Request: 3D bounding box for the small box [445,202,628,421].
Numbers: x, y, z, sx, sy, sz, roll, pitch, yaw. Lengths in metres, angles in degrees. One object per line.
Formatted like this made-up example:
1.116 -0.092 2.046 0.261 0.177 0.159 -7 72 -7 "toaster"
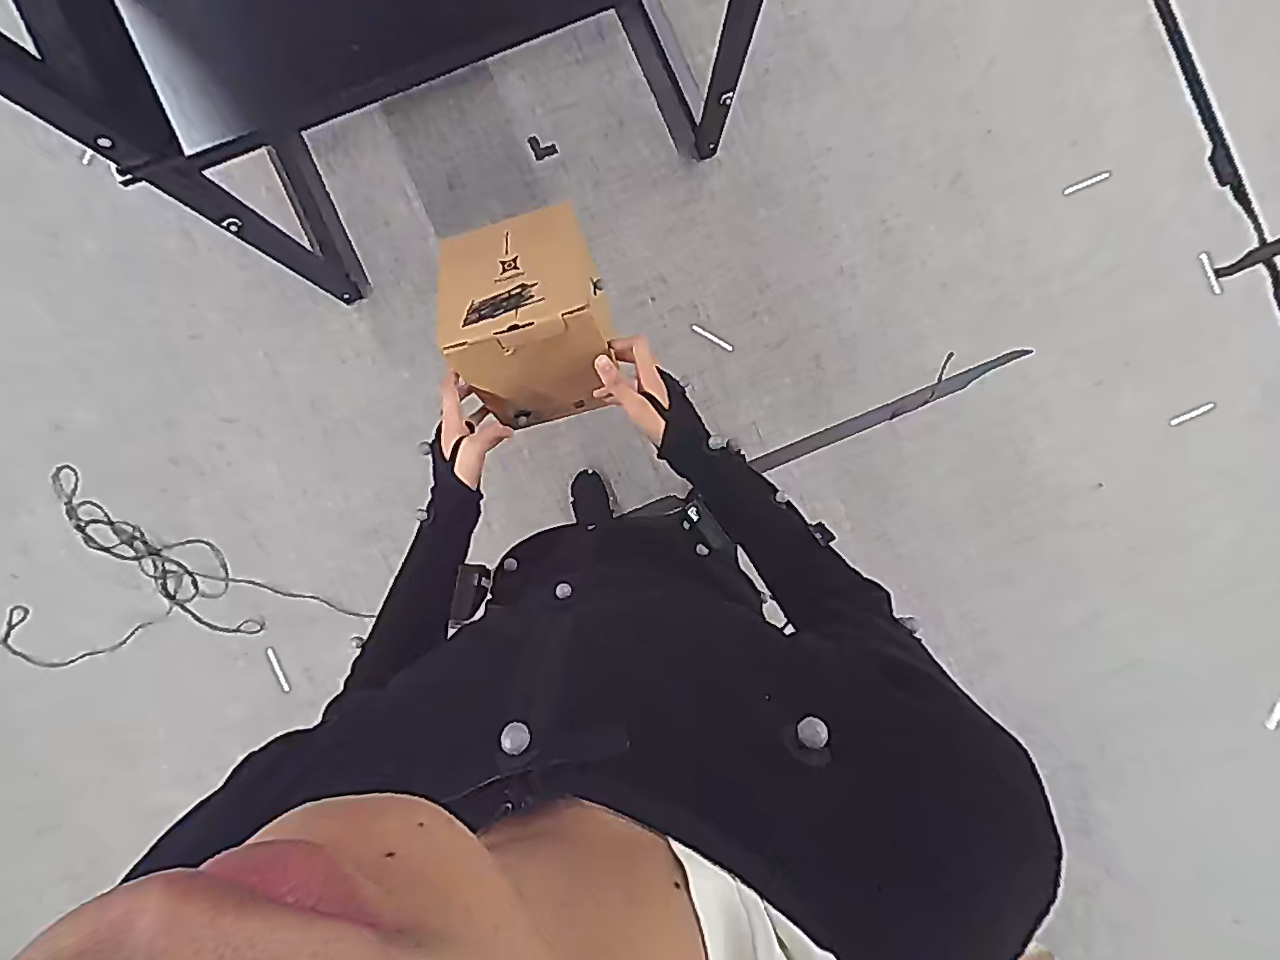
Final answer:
-0.119 -0.189 0.656 0.168 0.176 0.179 -14 62 6 "small box"
